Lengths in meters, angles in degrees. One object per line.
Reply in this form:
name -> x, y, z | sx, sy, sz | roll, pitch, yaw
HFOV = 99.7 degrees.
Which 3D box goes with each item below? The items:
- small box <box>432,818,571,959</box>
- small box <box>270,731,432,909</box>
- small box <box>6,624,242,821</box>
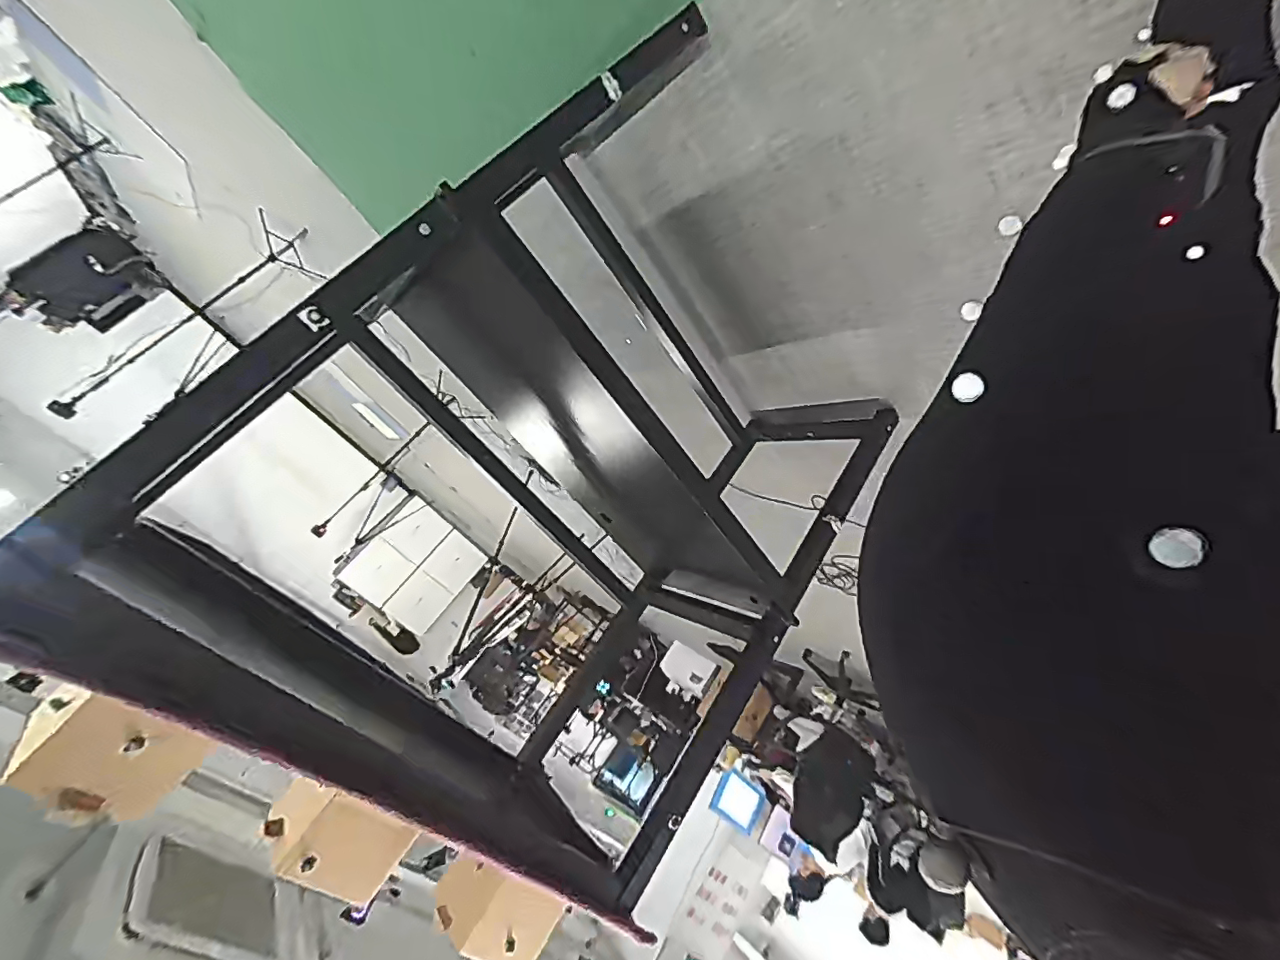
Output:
small box -> -0.271, 0.821, 1.075 | 0.168, 0.176, 0.179 | 2, 138, 54
small box -> -0.492, 0.573, 0.929 | 0.179, 0.176, 0.168 | 49, 157, -26
small box -> -0.708, 0.332, 0.767 | 0.179, 0.176, 0.168 | 13, 149, 50
